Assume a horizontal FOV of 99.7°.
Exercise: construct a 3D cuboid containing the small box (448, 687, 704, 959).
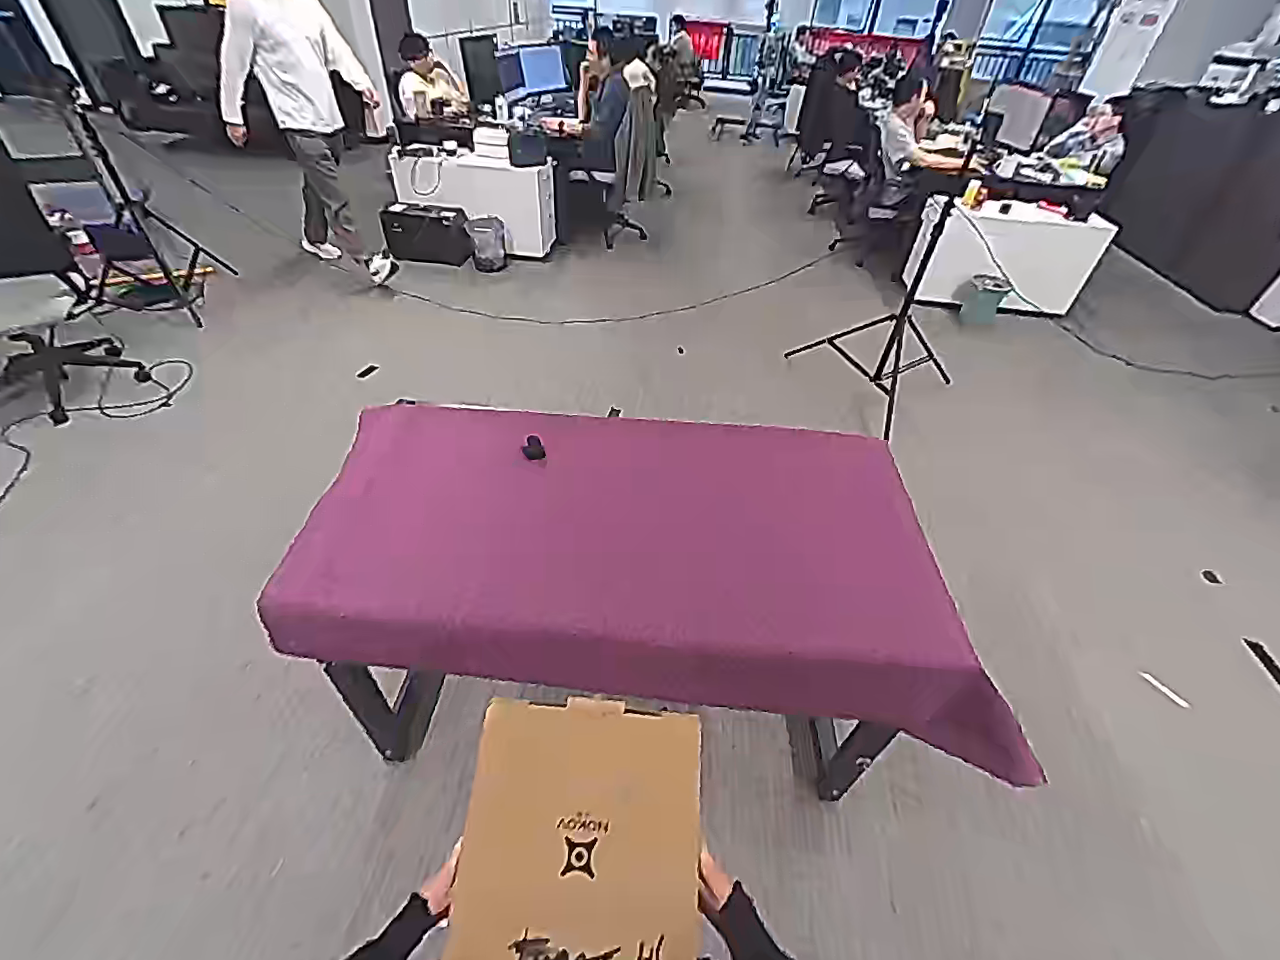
[{"bbox_3d":[-0.044,0.283,0.454,0.168,0.176,0.179,6,63,-3],"label":"small box"}]
